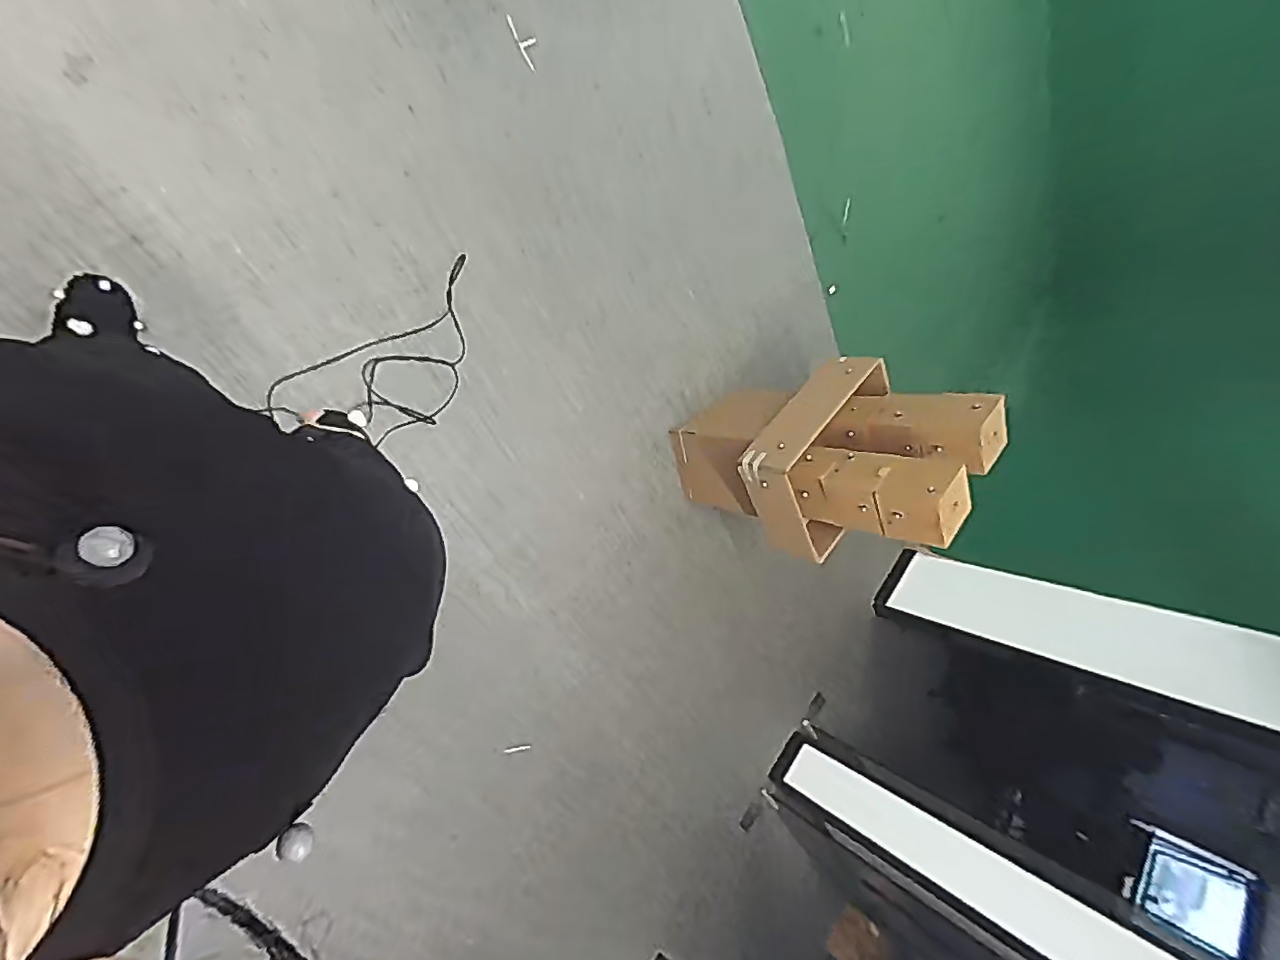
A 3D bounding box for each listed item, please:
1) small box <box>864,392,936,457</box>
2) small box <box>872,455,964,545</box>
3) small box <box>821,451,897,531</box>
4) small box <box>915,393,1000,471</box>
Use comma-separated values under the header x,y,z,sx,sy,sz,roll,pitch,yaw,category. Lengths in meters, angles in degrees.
x,y,z,sx,sy,sz,roll,pitch,yaw,category
0.844,-0.168,1.739,0.168,0.176,0.179,-44,124,-25,small box
0.774,0.047,1.505,0.179,0.176,0.168,-43,123,-26,small box
0.666,0.026,1.625,0.168,0.176,0.179,-43,123,-27,small box
0.946,-0.150,1.611,0.179,0.176,0.168,-41,121,-27,small box
